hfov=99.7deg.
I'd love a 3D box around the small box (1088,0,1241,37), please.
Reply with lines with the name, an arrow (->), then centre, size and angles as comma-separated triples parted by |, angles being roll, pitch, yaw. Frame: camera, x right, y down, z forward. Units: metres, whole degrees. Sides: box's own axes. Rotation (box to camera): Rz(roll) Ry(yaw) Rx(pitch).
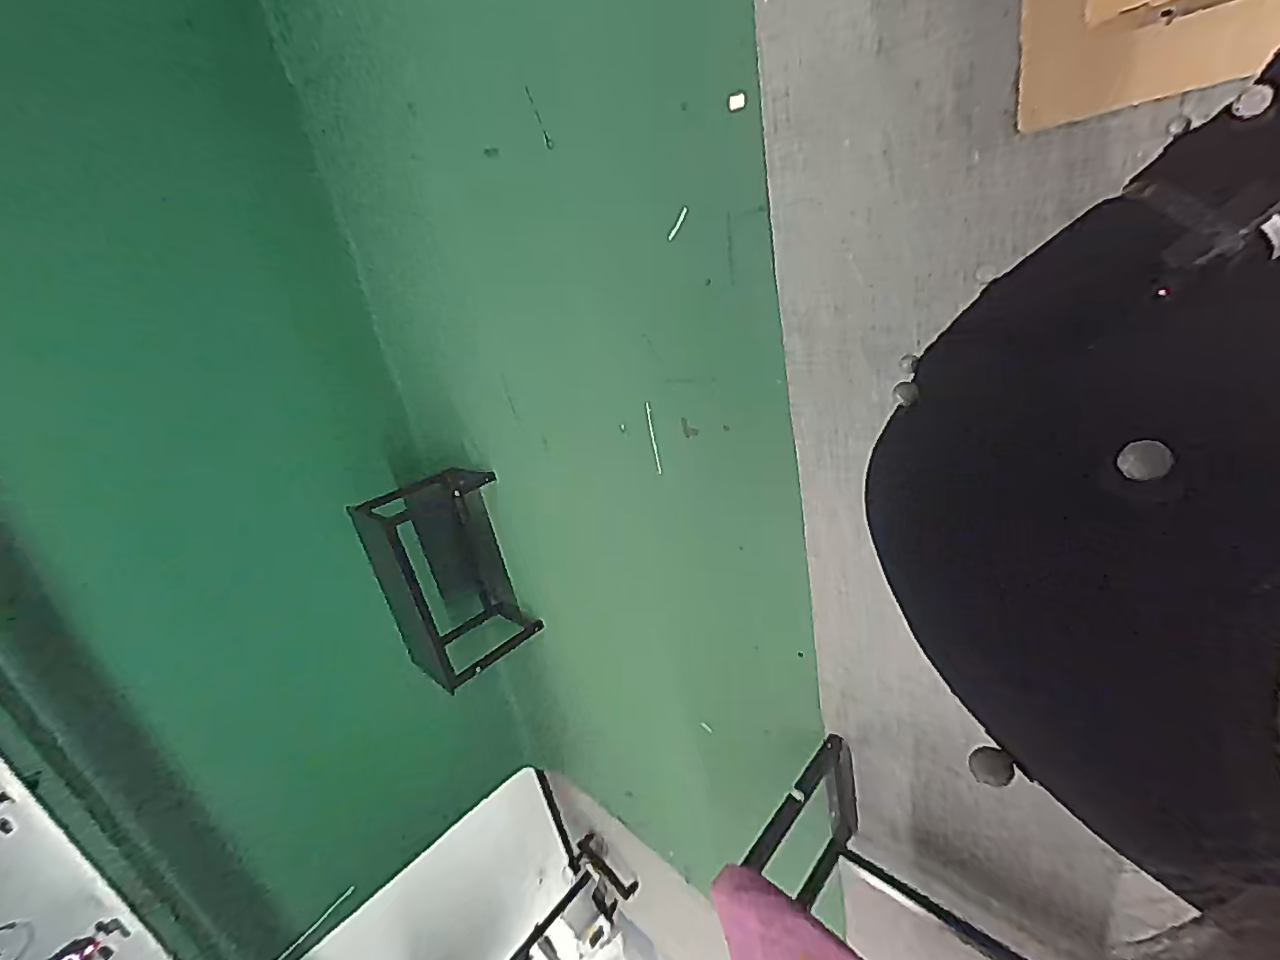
small box -> 0.649, -0.657, 0.629 | 0.168, 0.176, 0.179 | 12, 123, 43
